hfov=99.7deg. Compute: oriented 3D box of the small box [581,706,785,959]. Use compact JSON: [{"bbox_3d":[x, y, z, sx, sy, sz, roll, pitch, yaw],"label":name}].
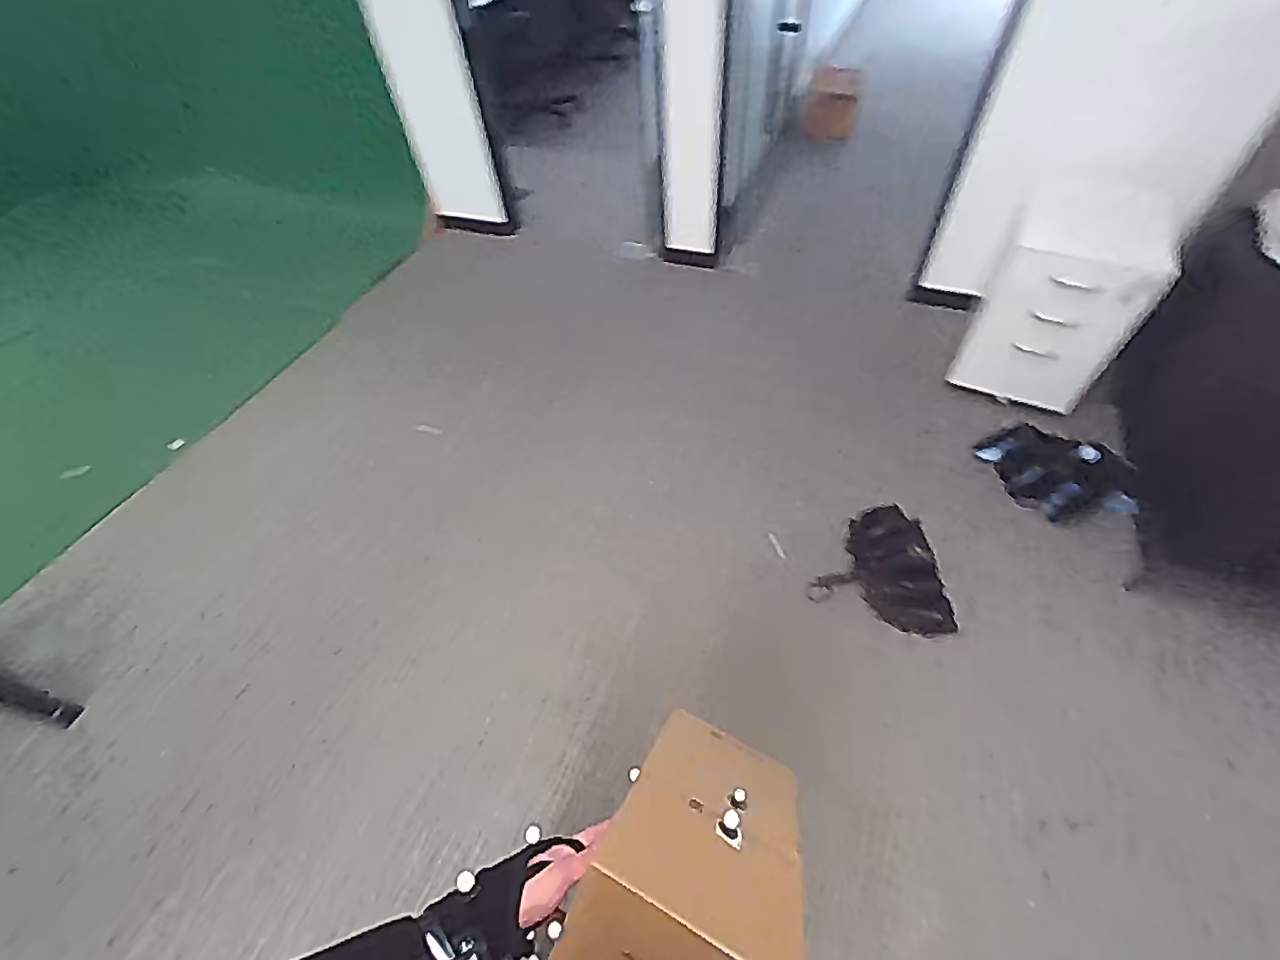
[{"bbox_3d":[0.060,0.399,0.623,0.168,0.176,0.179,22,94,14],"label":"small box"}]
